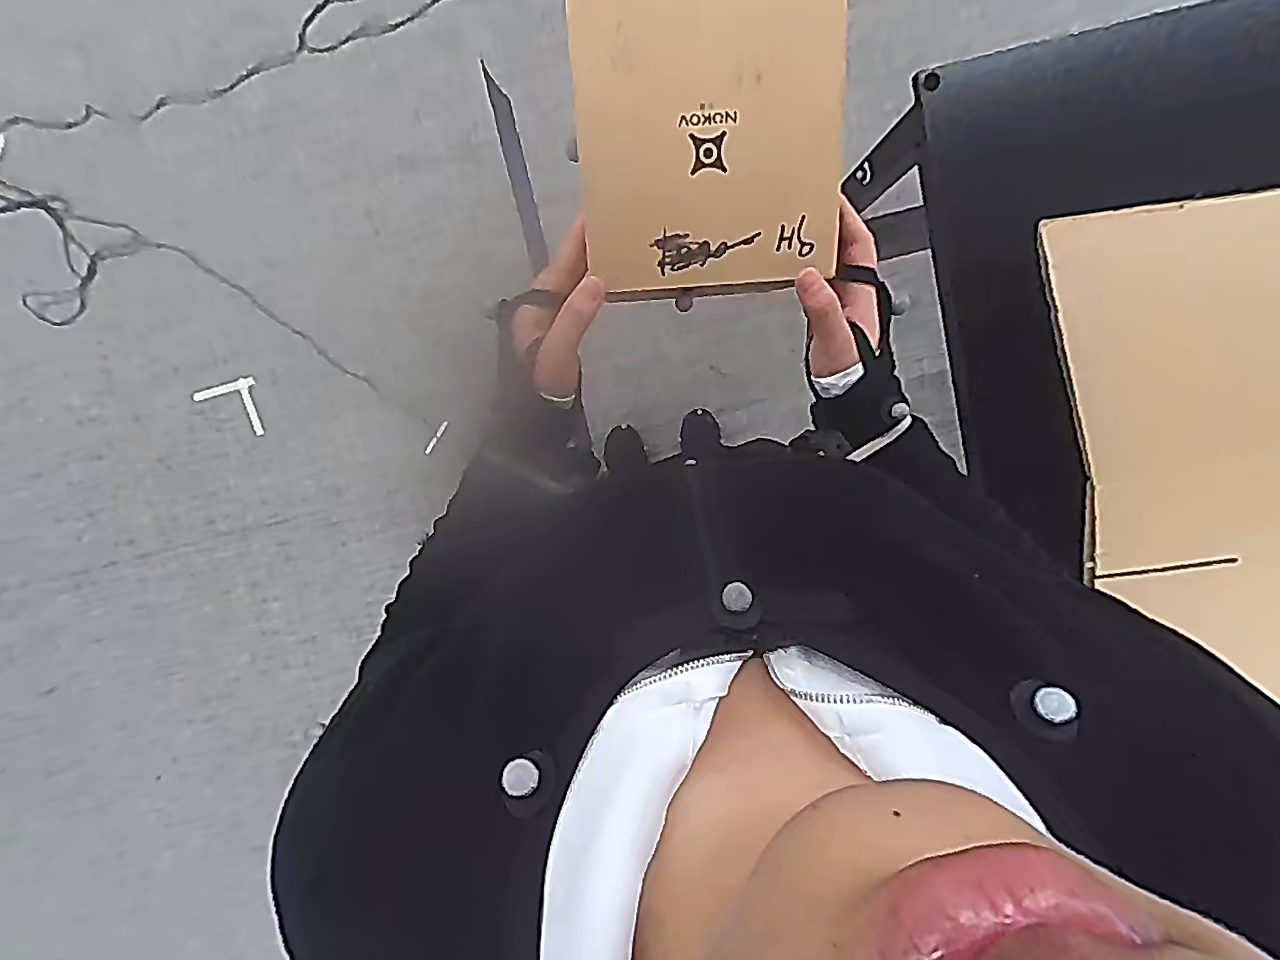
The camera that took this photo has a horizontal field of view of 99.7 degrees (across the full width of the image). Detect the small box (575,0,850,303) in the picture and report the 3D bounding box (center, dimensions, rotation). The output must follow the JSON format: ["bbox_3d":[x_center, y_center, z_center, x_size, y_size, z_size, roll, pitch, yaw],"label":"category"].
[{"bbox_3d":[0.043,-0.234,0.410,0.168,0.176,0.179,-4,106,0],"label":"small box"}]
